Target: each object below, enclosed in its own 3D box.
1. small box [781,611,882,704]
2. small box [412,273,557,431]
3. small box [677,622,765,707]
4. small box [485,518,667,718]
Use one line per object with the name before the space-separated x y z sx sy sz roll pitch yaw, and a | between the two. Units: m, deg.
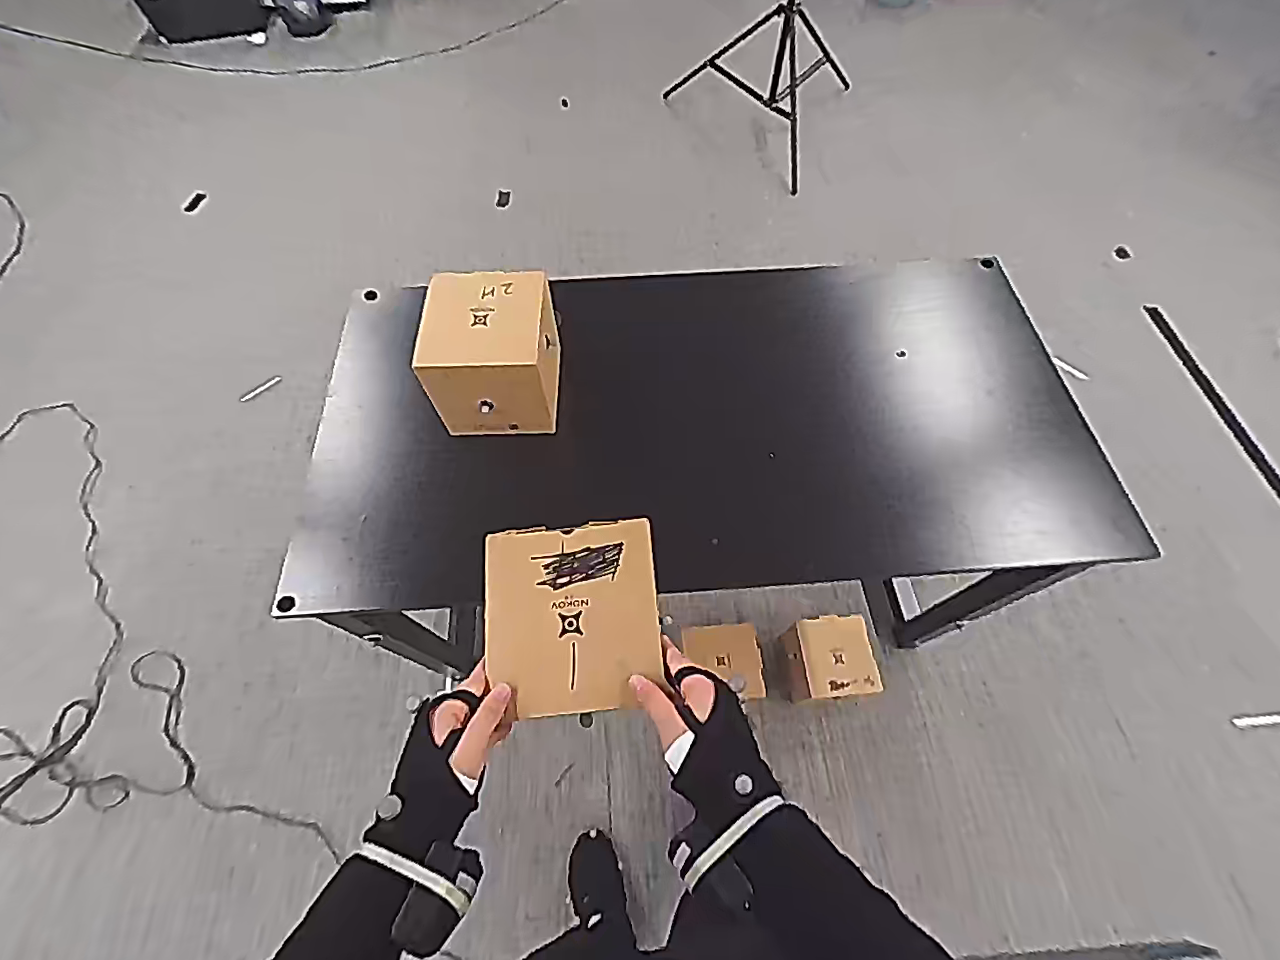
small box | 0.450 0.431 1.307 0.168 0.176 0.179 -5 61 -1
small box | -0.220 -0.185 0.819 0.168 0.176 0.179 -1 62 -1
small box | 0.188 0.448 1.304 0.179 0.176 0.168 -5 61 -1
small box | -0.063 0.155 0.587 0.168 0.176 0.179 -6 69 0
